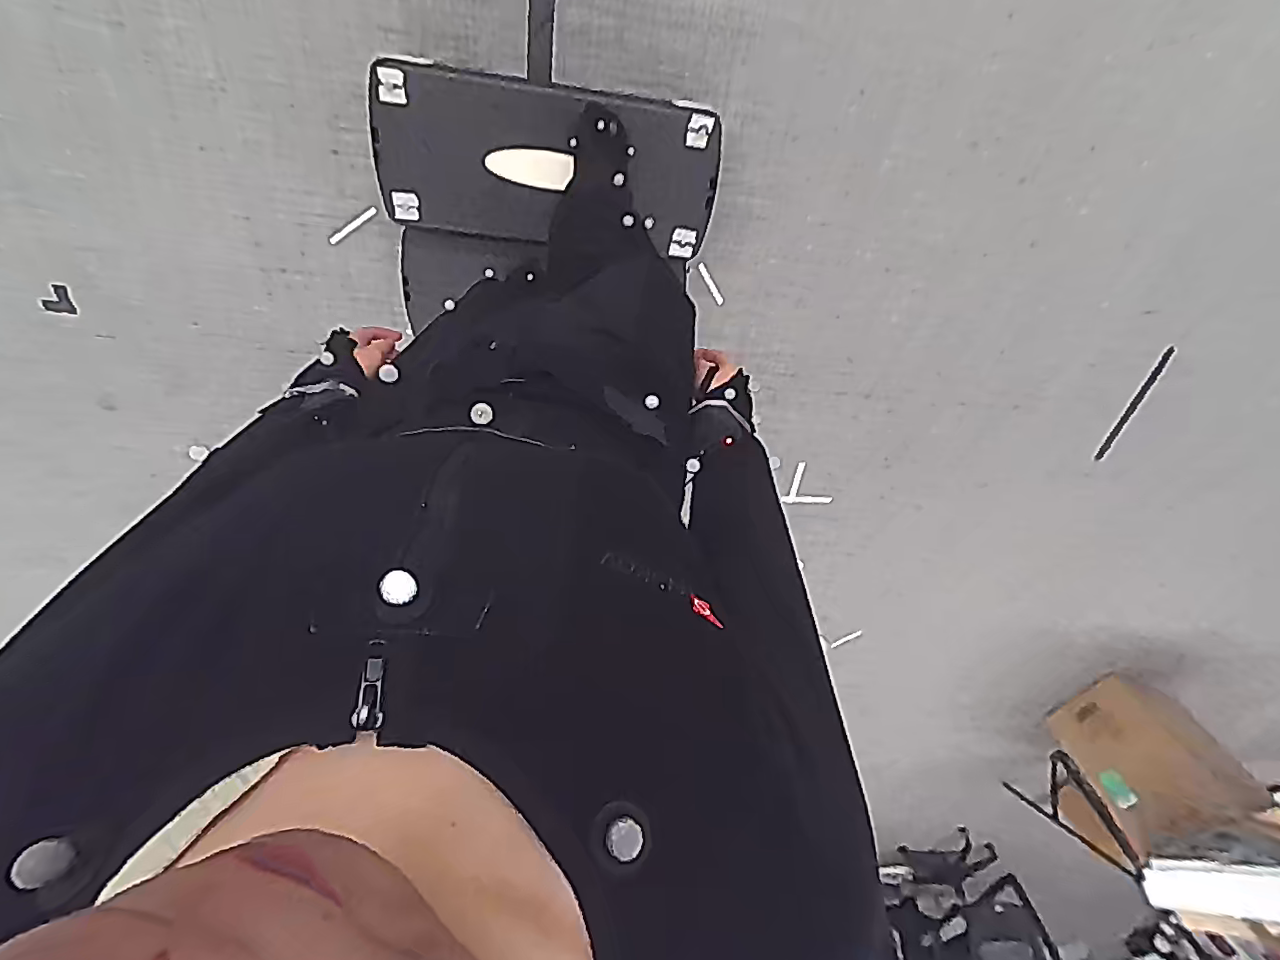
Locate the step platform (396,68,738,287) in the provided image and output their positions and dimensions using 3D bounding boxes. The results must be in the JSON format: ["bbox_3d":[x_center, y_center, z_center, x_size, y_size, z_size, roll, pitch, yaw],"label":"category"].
[{"bbox_3d":[-0.144,-0.623,1.148,0.684,0.204,0.286,7,122,-10],"label":"step platform"}]
